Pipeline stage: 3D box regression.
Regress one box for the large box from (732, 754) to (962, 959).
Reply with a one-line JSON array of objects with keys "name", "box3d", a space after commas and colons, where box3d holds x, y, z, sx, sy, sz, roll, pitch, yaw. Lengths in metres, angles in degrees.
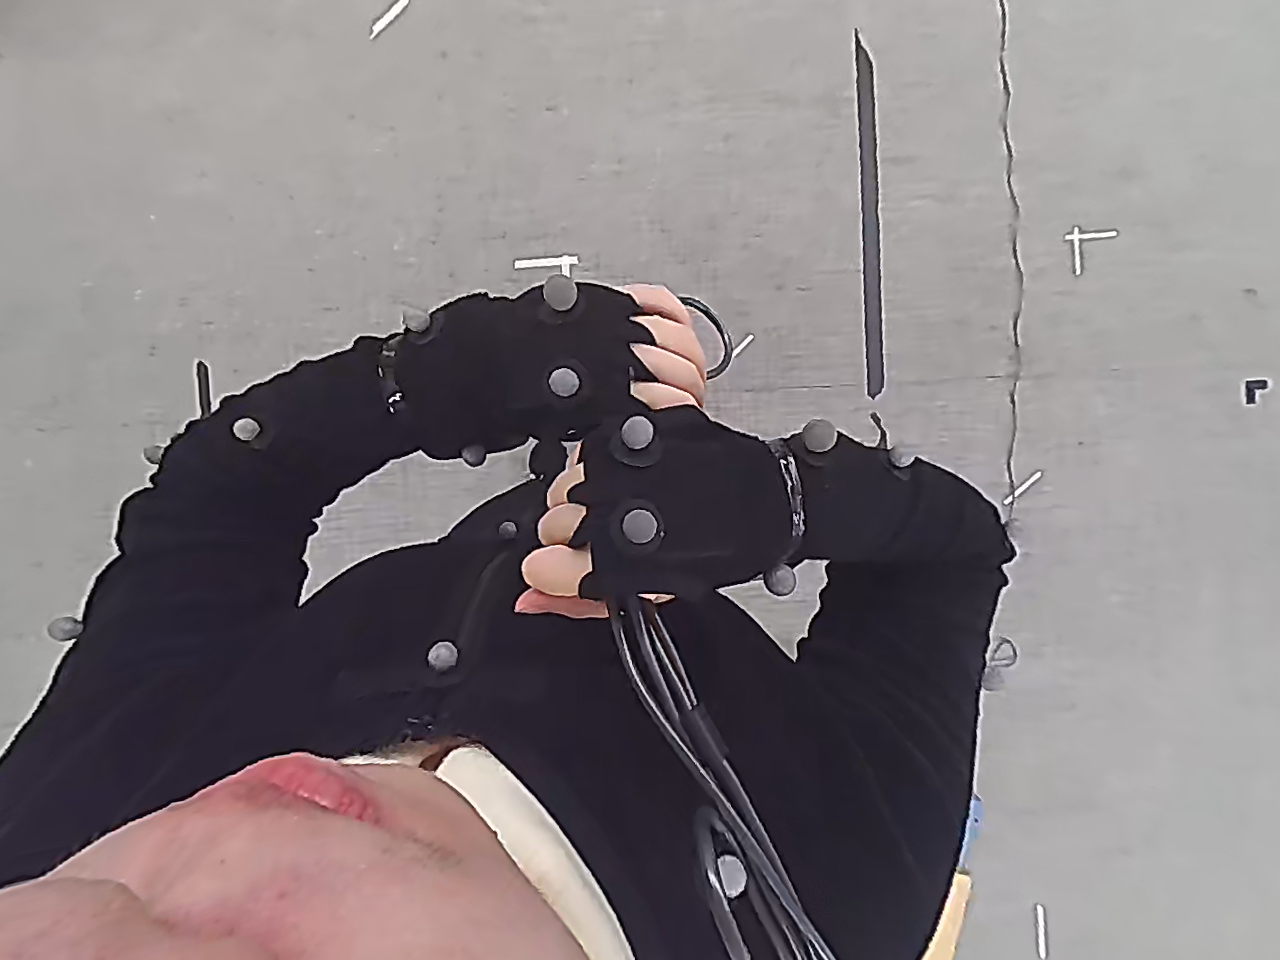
[{"name": "large box", "box3d": [0.425, 0.897, 1.189, 0.320, 0.320, 0.408, 15, 91, -1]}]
